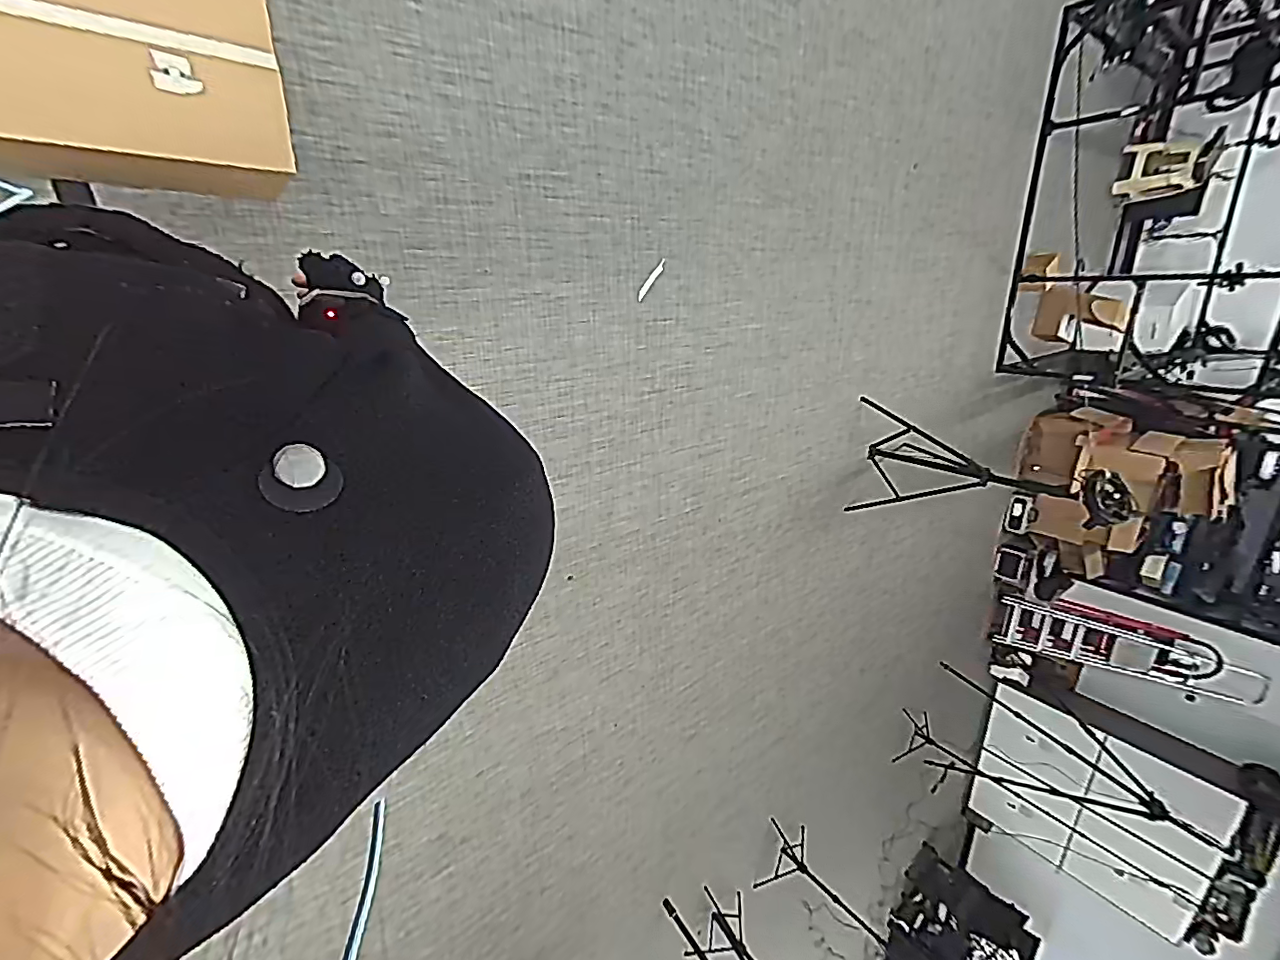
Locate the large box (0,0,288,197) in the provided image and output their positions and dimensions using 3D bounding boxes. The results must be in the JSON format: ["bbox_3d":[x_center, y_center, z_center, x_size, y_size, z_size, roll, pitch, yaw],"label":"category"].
[{"bbox_3d":[-0.842,-0.658,0.854,0.408,0.320,0.320,-15,113,-37],"label":"large box"}]
